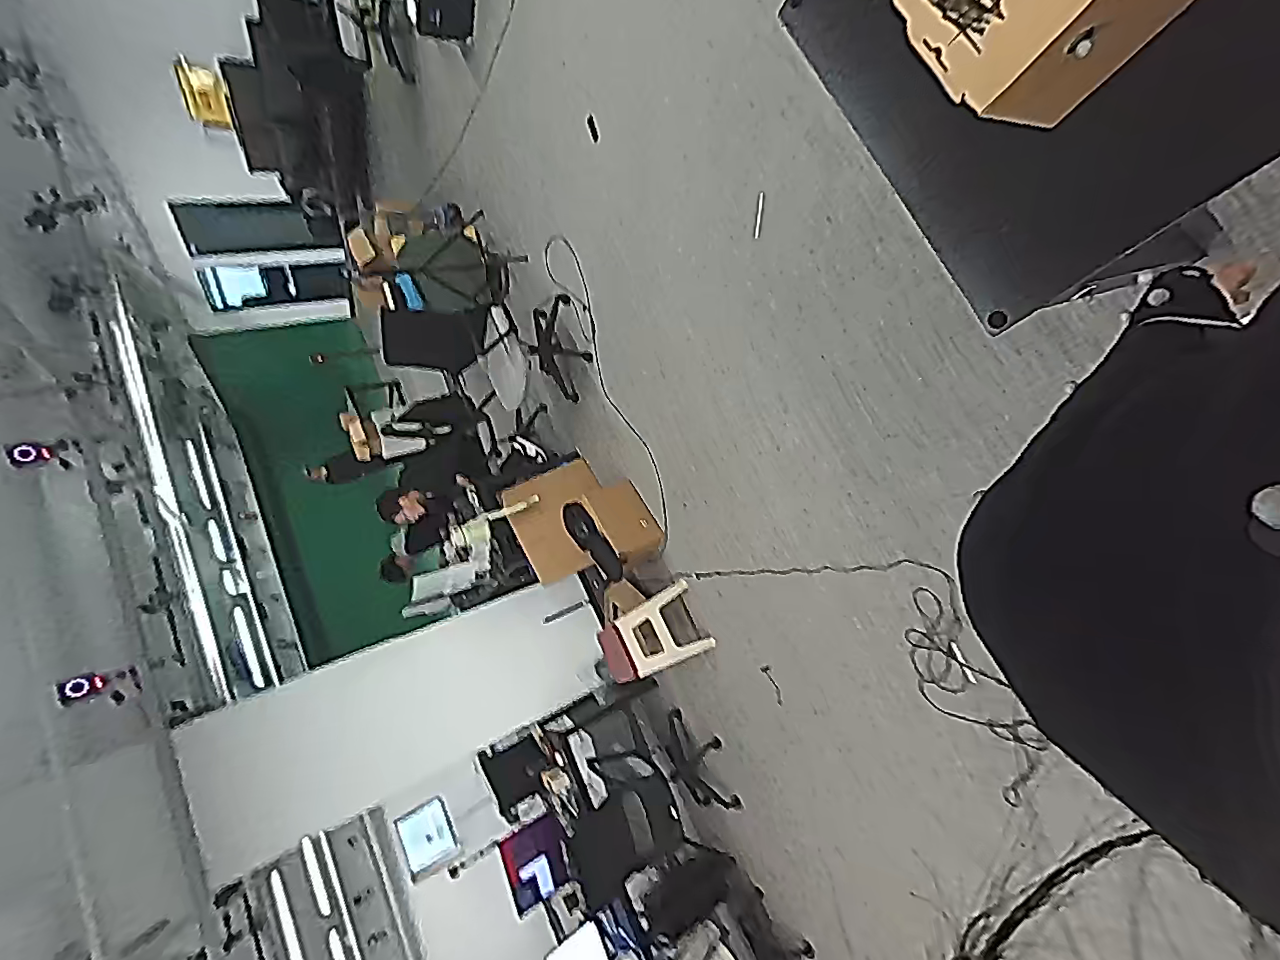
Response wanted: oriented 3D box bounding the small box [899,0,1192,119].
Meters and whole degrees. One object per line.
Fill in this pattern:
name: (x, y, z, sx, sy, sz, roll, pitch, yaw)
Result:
small box: (0.401, -0.483, 0.517, 0.168, 0.176, 0.179, 64, 148, 12)
